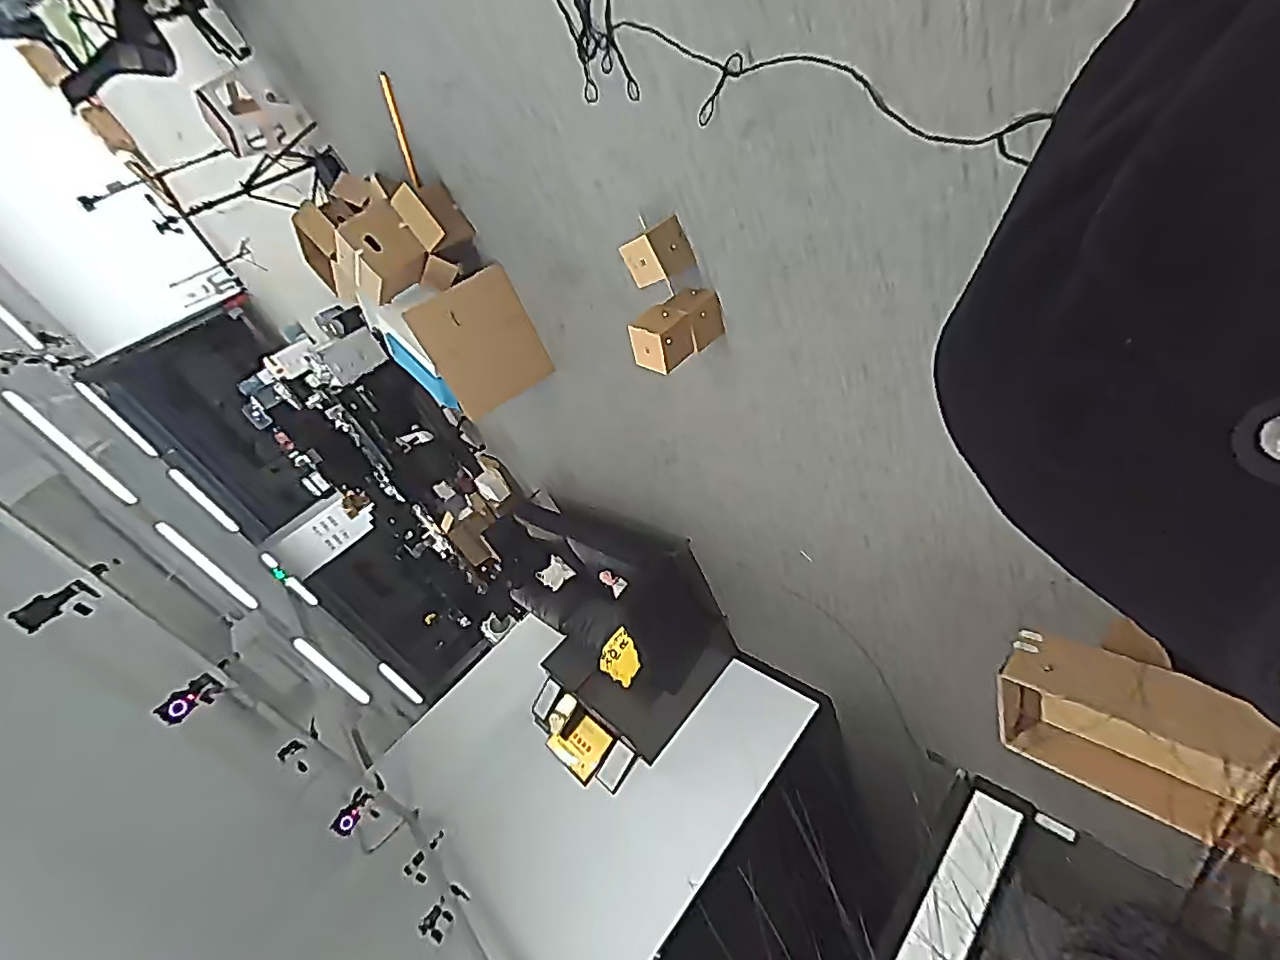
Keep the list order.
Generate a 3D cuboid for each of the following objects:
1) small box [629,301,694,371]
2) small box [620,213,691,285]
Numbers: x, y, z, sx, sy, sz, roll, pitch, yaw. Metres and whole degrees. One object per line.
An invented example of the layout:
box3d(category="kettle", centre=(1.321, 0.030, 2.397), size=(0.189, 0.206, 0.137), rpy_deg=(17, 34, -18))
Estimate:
box3d(category="small box", centre=(0.089, -0.546, 2.048), size=(0.168, 0.176, 0.179), rpy_deg=(28, 149, 36))
box3d(category="small box", centre=(0.066, -0.855, 1.999), size=(0.179, 0.176, 0.168), rpy_deg=(7, 135, 55))
